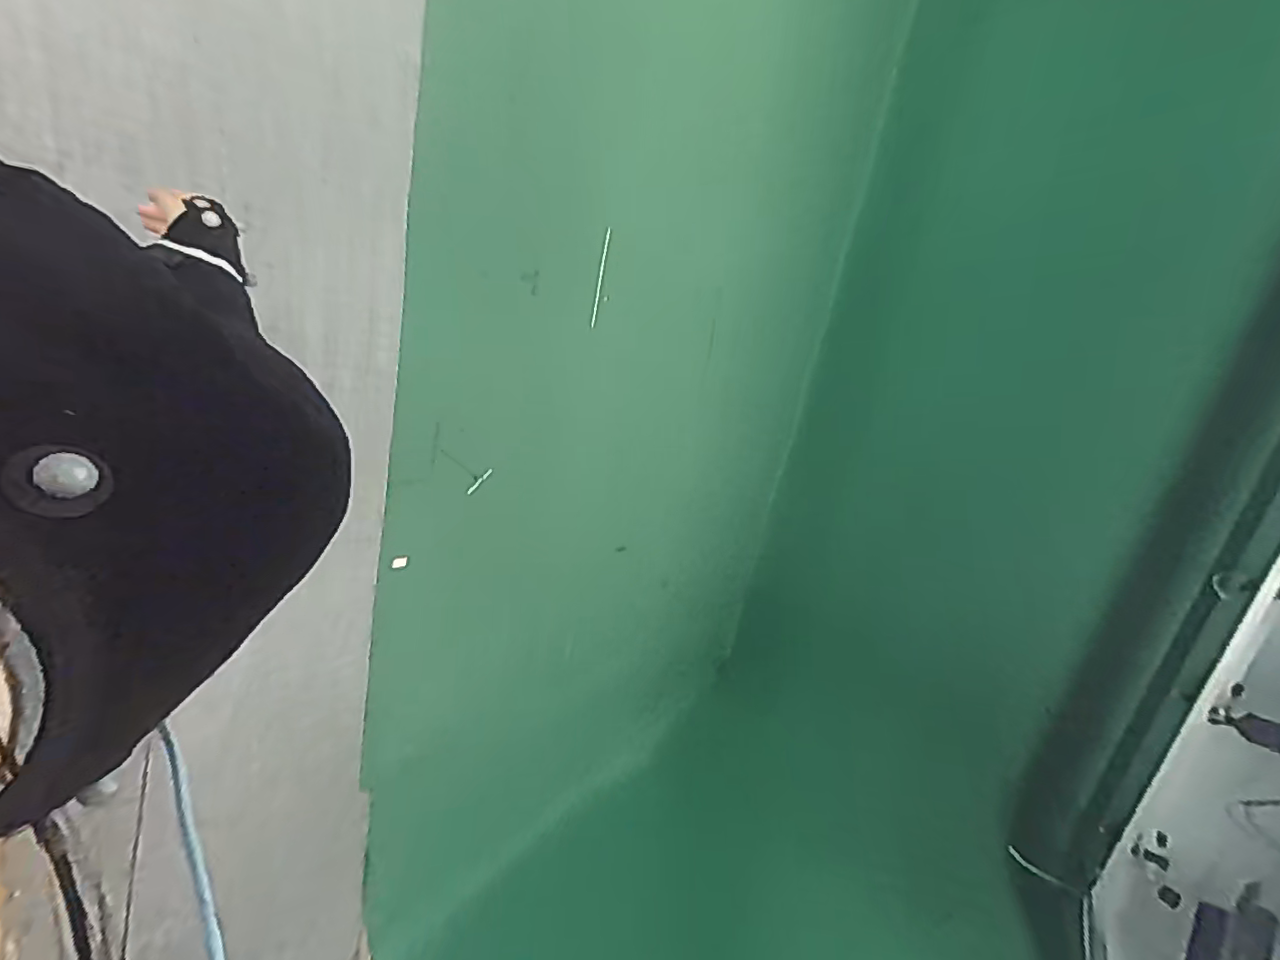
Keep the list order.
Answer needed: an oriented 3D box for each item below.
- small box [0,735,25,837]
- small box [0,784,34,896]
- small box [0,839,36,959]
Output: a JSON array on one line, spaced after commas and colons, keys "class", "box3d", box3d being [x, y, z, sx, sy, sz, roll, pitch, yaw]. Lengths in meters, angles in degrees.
[{"class": "small box", "box3d": [-1.367, 0.643, 1.063, 0.179, 0.176, 0.168, -16, 121, -51]}, {"class": "small box", "box3d": [-1.243, 0.690, 0.965, 0.179, 0.176, 0.168, -17, 121, -50]}, {"class": "small box", "box3d": [-1.120, 0.740, 0.867, 0.179, 0.176, 0.168, -15, 121, -50]}]
